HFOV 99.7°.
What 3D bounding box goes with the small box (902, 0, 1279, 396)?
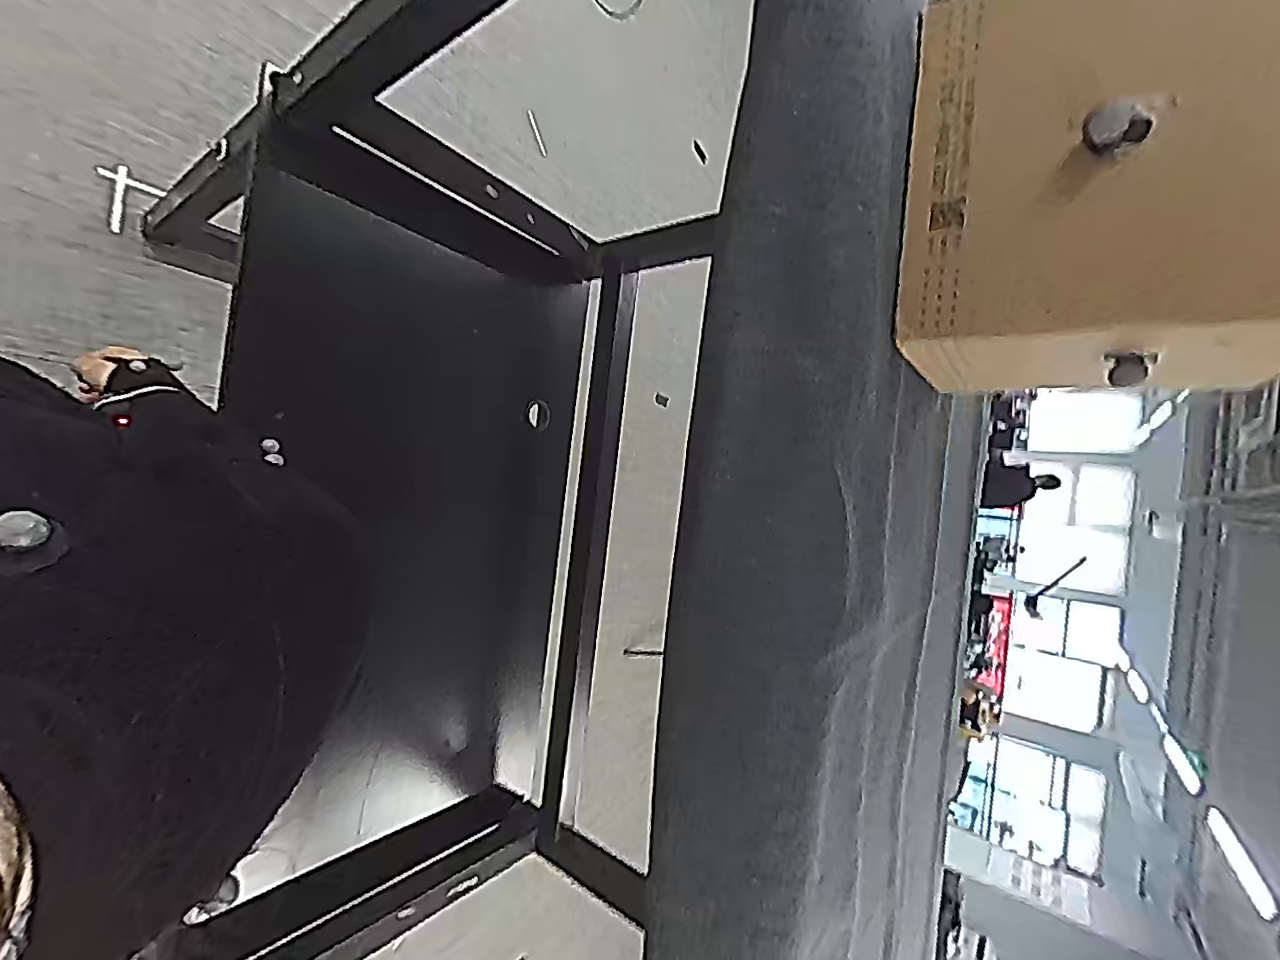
[{"bbox_3d":[0.253,-0.138,0.295,0.179,0.176,0.168,1,95,-54],"label":"small box"}]
